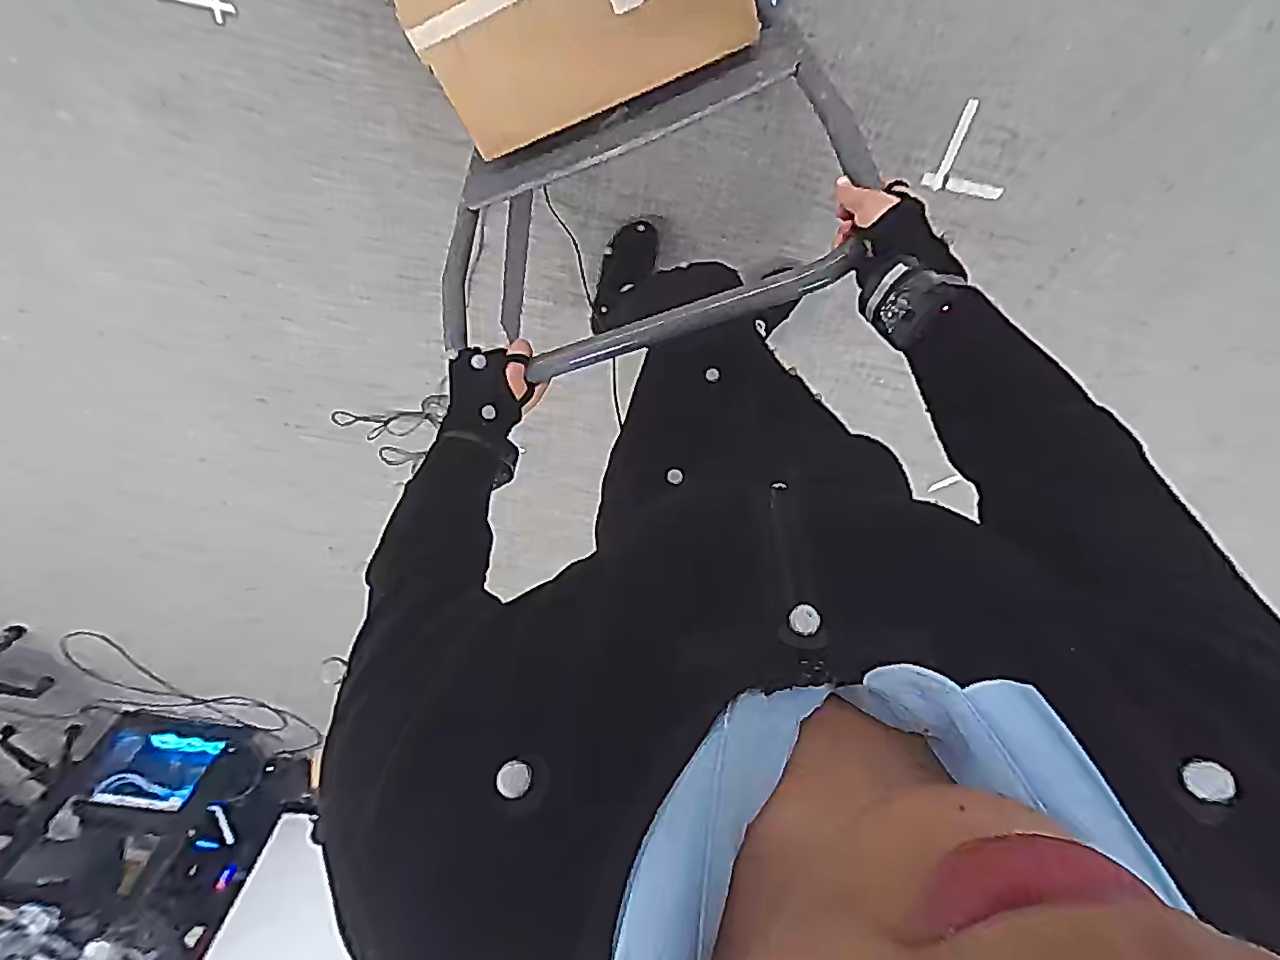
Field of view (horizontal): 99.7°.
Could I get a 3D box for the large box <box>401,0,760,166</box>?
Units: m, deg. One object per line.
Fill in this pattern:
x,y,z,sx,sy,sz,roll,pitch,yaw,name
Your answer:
-0.093,-0.710,0.723,0.408,0.320,0.320,-16,140,14,large box
